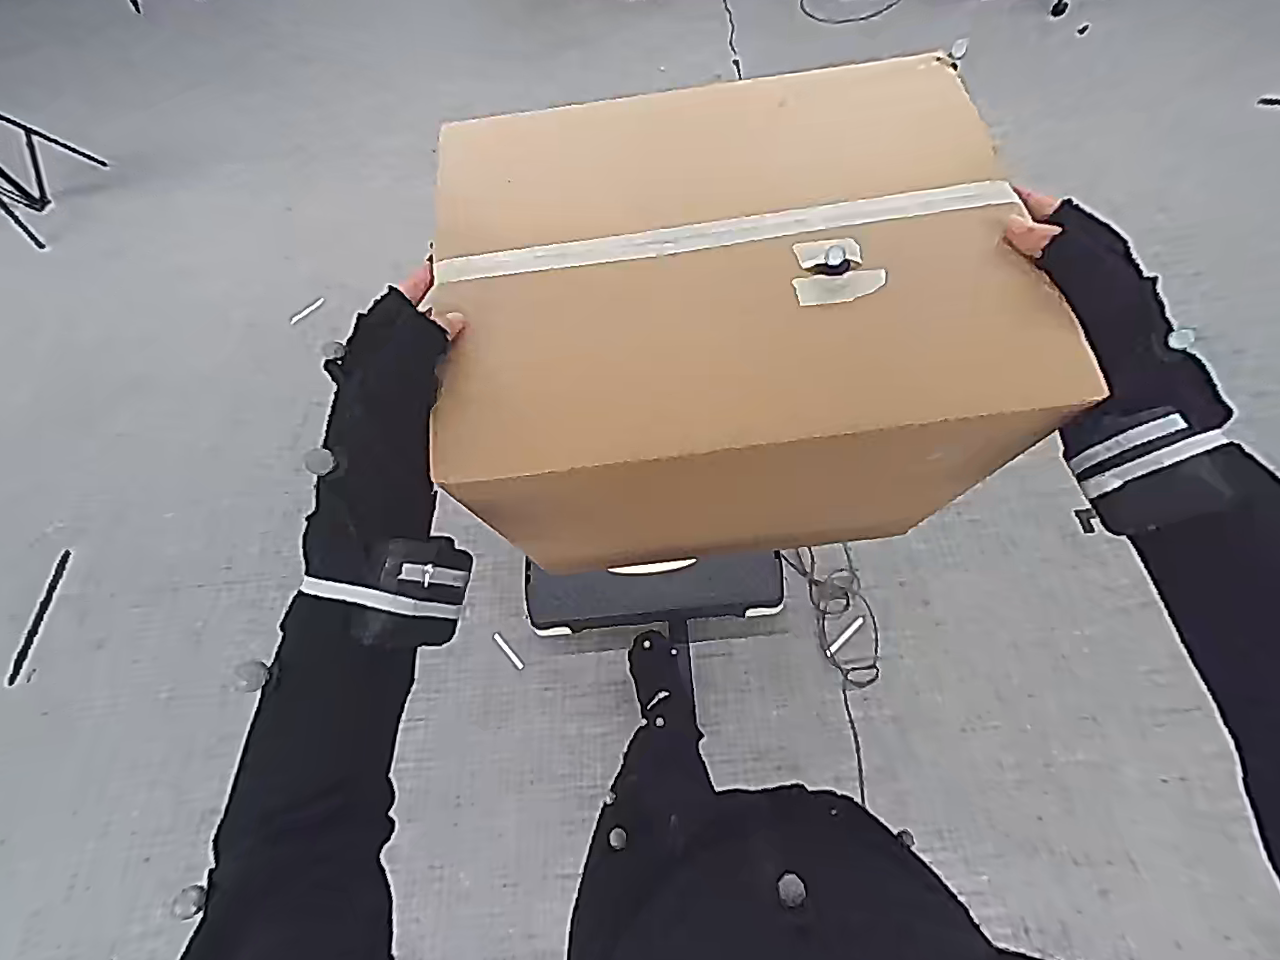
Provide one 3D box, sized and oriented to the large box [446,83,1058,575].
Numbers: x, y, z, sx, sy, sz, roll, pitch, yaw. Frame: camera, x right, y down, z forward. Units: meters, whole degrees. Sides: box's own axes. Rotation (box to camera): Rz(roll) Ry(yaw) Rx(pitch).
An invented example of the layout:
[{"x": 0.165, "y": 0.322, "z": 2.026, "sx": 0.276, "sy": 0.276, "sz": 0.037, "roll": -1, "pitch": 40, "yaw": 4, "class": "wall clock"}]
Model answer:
[{"x": 0.061, "y": -0.110, "z": 0.537, "sx": 0.408, "sy": 0.320, "sz": 0.320, "roll": -8, "pitch": 69, "yaw": 1, "class": "large box"}]
